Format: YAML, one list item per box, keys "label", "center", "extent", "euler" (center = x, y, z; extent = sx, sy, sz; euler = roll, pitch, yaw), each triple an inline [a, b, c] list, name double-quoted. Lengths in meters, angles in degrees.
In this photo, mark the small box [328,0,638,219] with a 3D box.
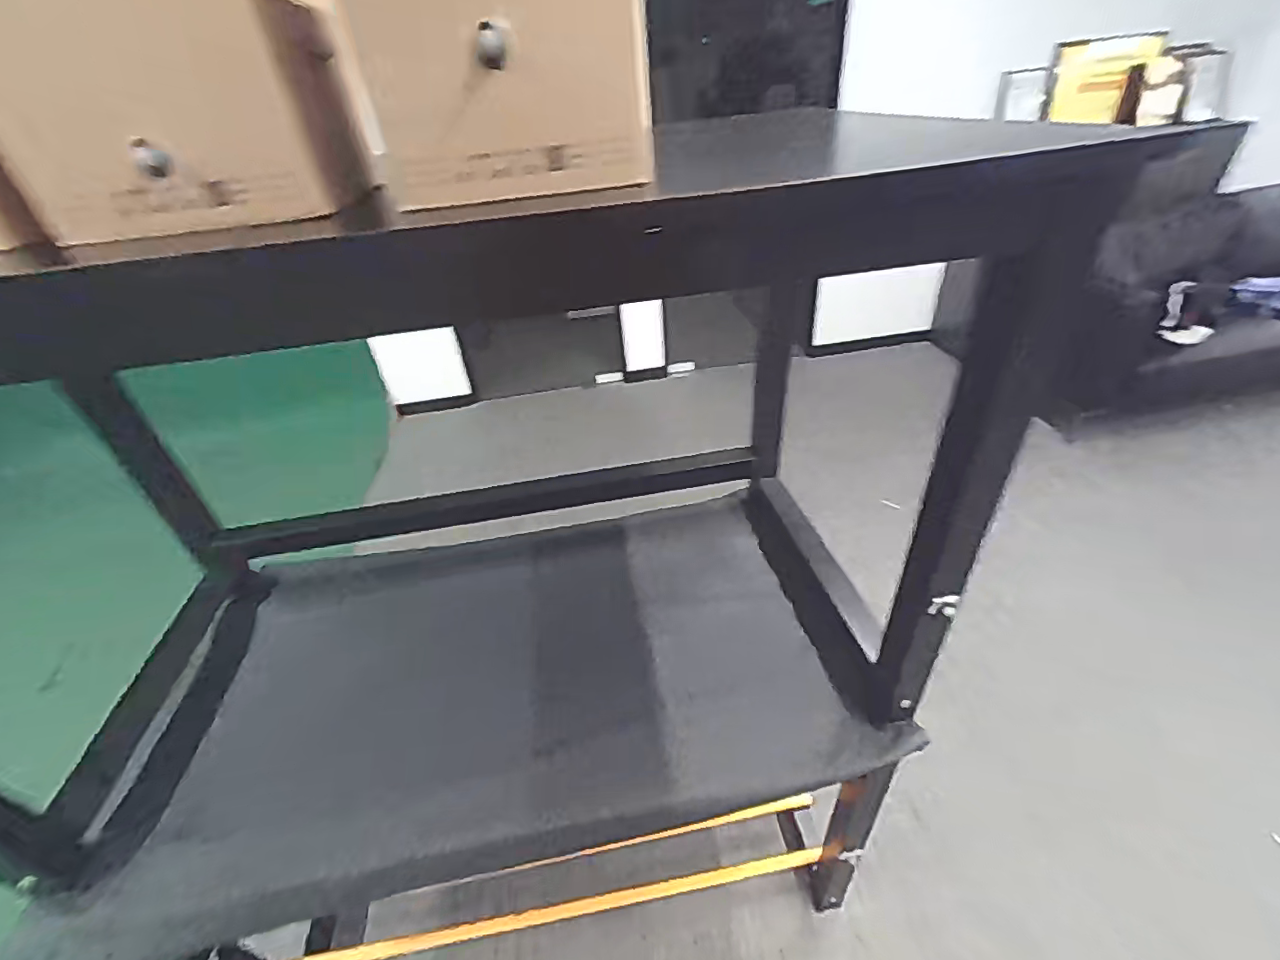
- label: "small box"
  center: [-0.099, -0.291, 0.380]
  extent: [0.168, 0.176, 0.179]
  euler: [-9, 36, -6]
